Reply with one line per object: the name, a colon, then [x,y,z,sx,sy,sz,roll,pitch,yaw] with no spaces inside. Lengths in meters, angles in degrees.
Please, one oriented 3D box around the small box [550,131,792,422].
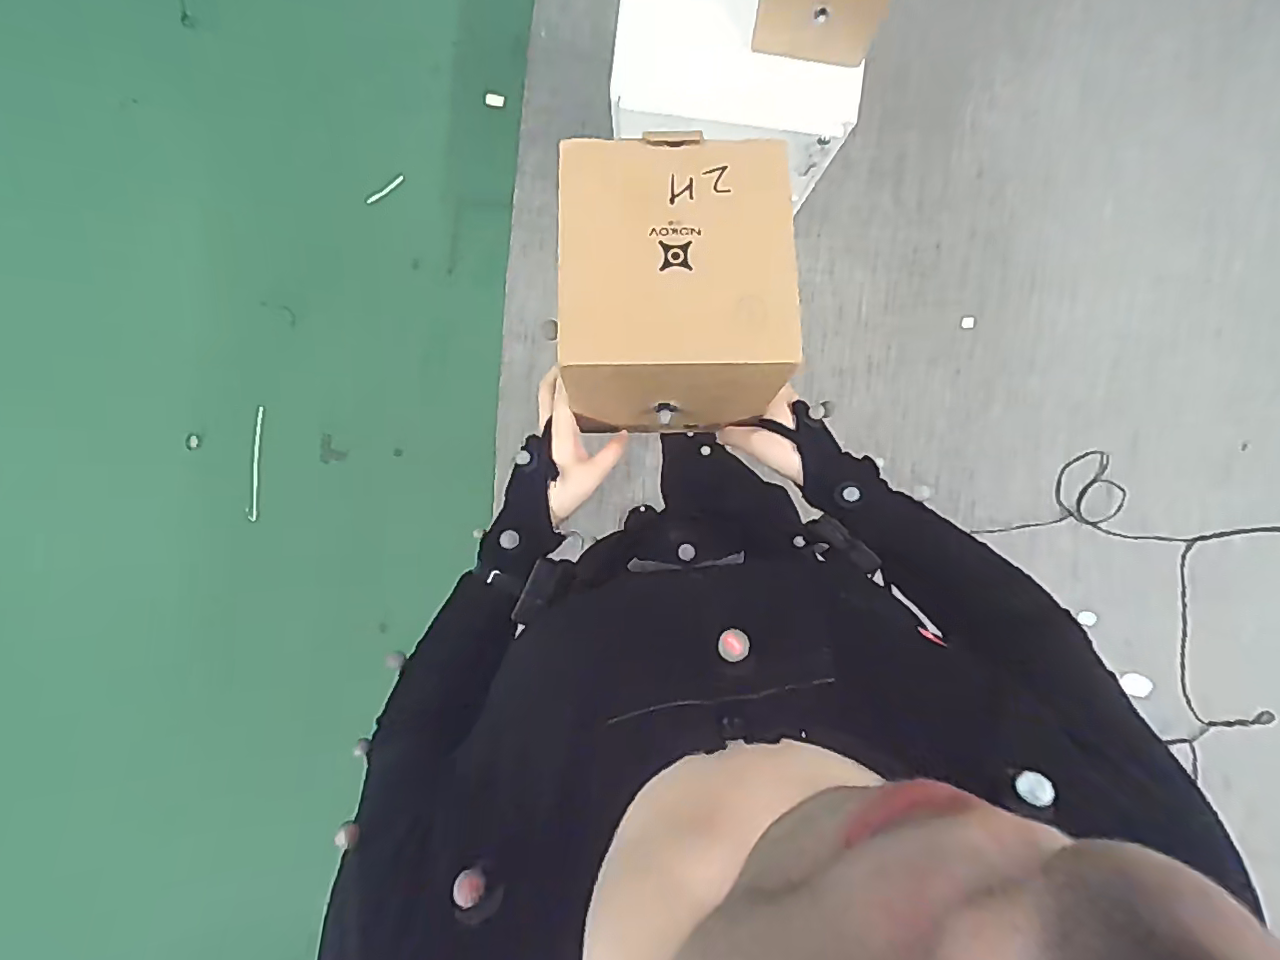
small box: [0.020,-0.152,0.454,0.168,0.176,0.179,-1,79,-2]
